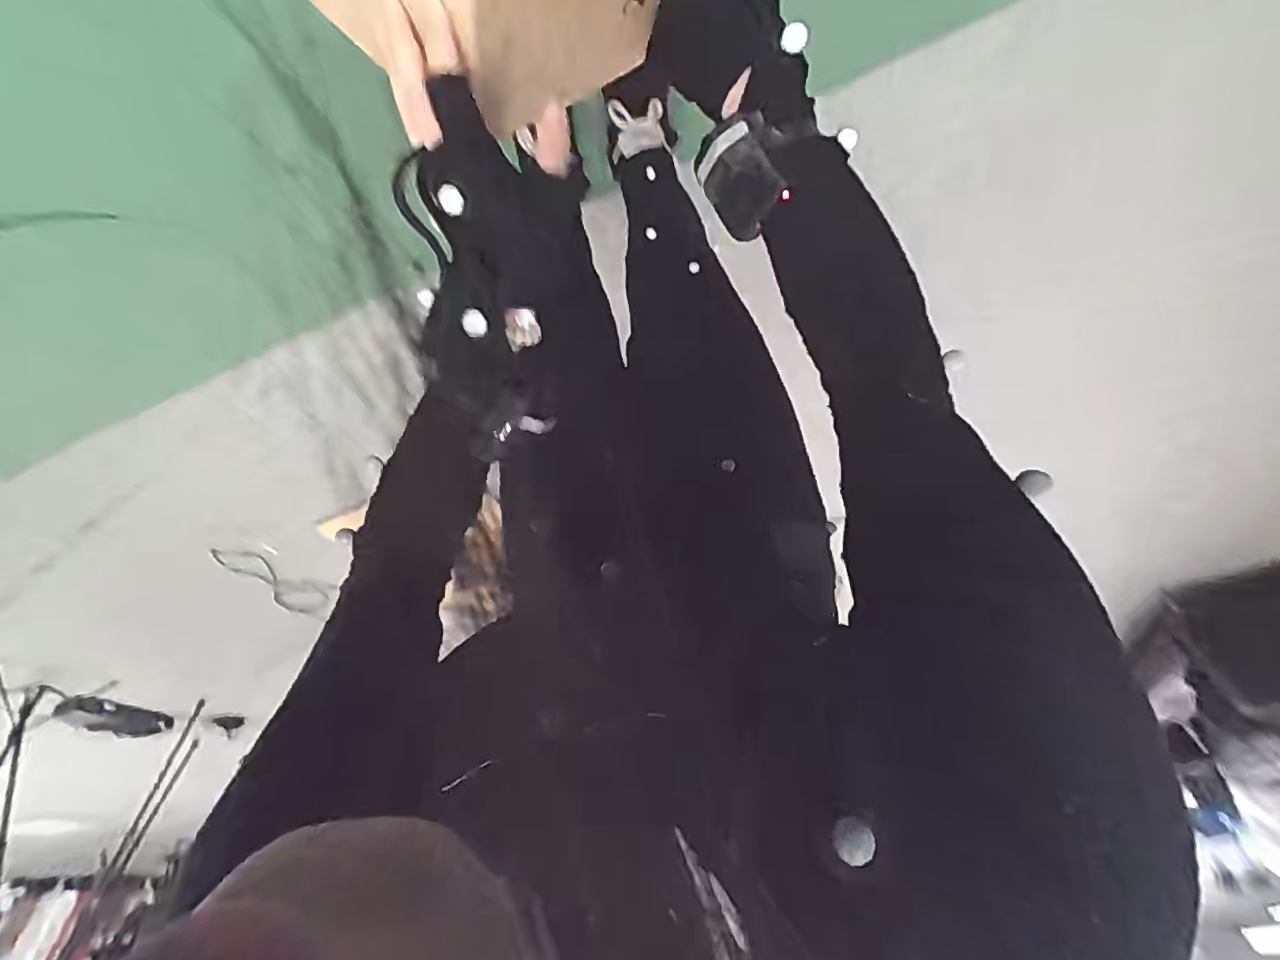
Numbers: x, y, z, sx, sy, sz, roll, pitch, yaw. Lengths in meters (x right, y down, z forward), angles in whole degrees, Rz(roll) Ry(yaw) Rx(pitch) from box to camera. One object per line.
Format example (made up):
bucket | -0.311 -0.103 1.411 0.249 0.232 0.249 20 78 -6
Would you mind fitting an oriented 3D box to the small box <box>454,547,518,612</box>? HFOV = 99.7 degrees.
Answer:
small box | -0.582 0.376 2.055 0.179 0.176 0.168 -22 139 17
